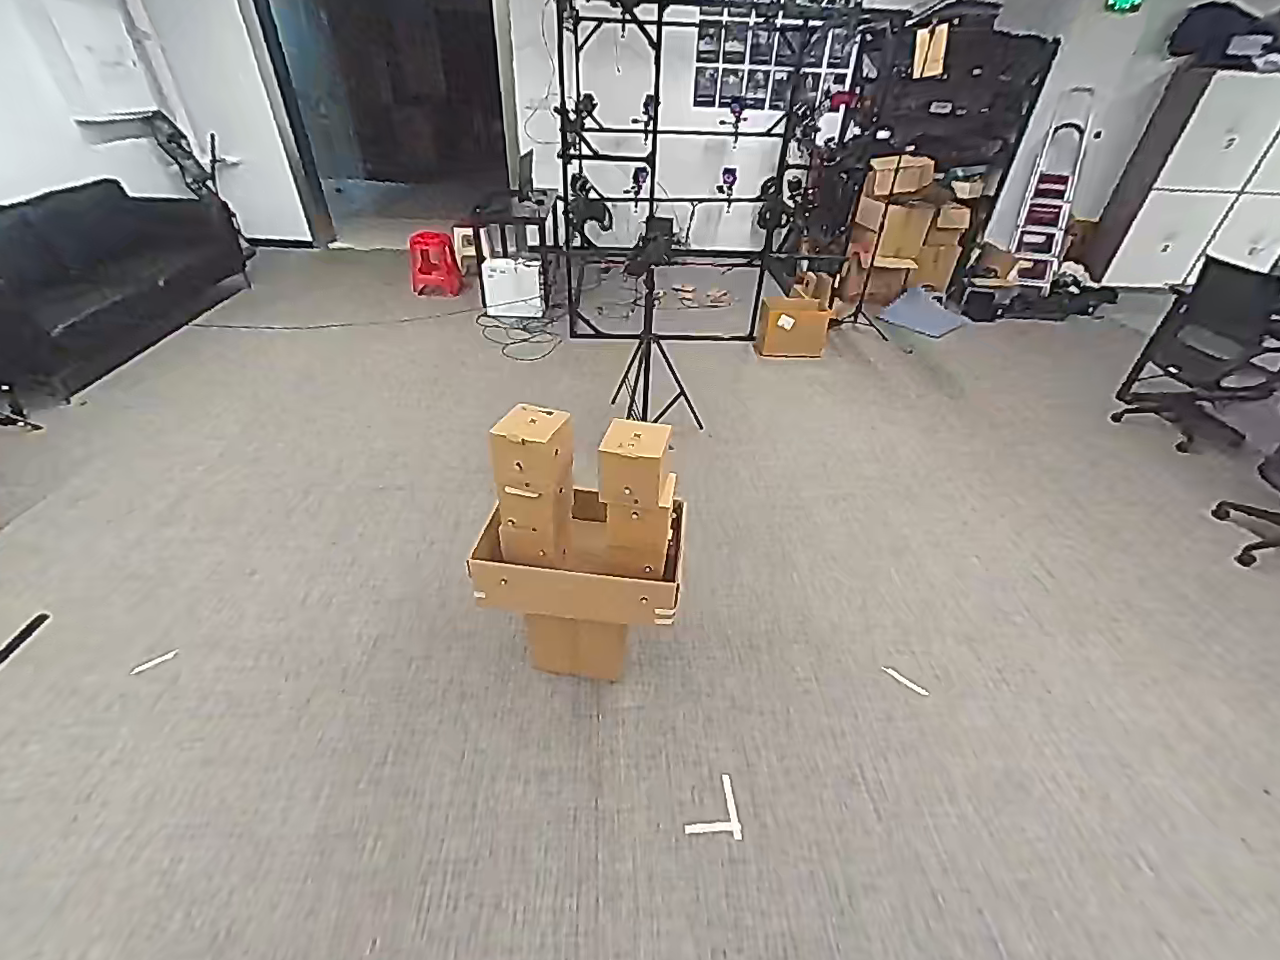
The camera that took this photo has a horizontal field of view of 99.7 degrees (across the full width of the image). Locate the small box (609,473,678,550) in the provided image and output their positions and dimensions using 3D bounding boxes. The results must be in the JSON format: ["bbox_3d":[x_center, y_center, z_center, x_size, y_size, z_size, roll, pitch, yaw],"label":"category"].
[{"bbox_3d":[0.010,0.085,1.579,0.179,0.176,0.168,6,36,7],"label":"small box"}]

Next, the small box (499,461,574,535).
[{"bbox_3d":[-0.301,0.041,1.616,0.168,0.176,0.179,10,36,10],"label":"small box"}]

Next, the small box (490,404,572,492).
[{"bbox_3d":[-0.294,-0.088,1.514,0.168,0.176,0.179,13,38,13],"label":"small box"}]

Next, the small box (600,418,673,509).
[{"bbox_3d":[-0.008,-0.046,1.479,0.168,0.176,0.179,8,37,10],"label":"small box"}]
